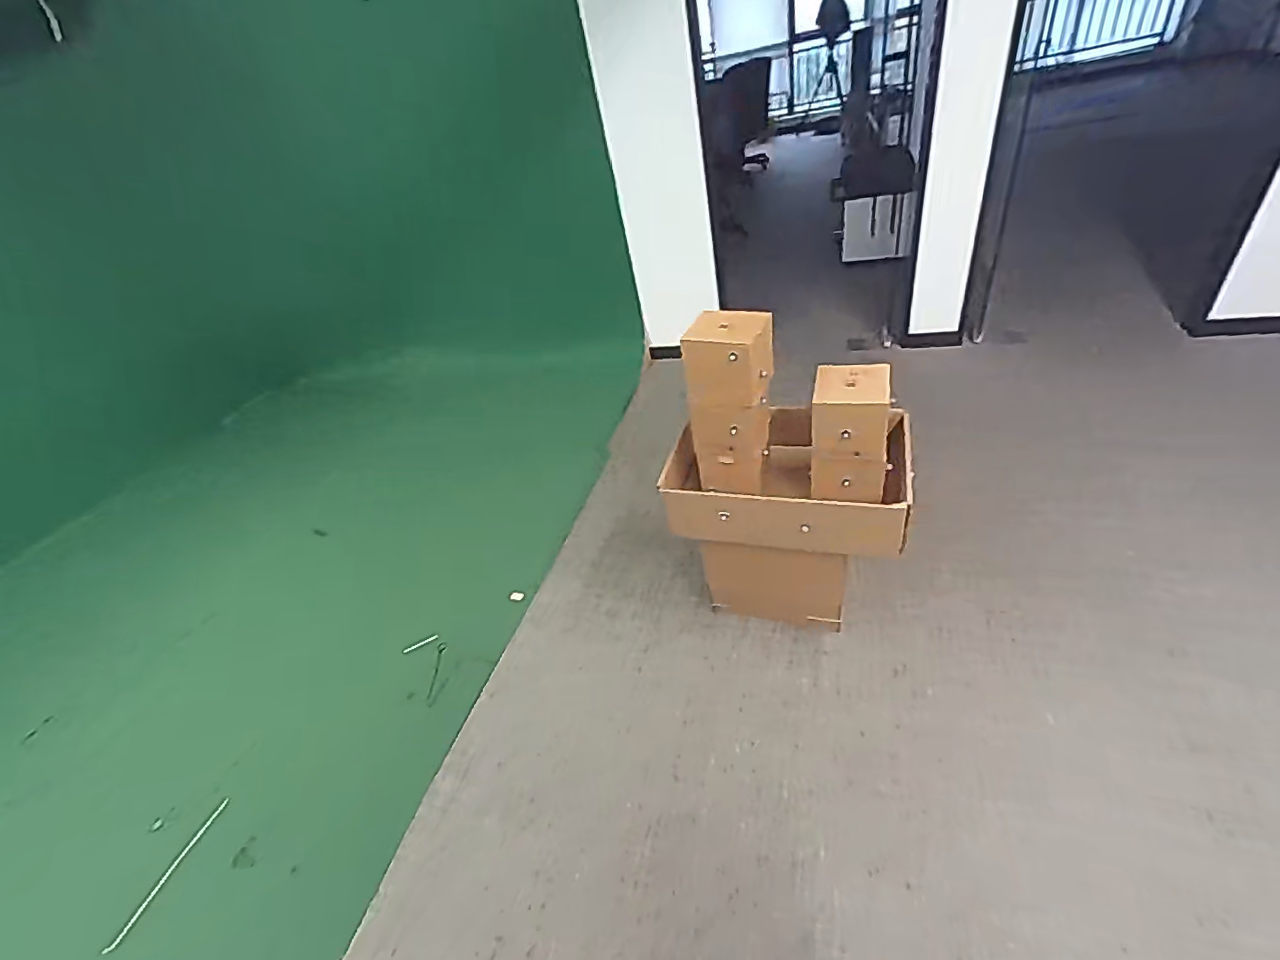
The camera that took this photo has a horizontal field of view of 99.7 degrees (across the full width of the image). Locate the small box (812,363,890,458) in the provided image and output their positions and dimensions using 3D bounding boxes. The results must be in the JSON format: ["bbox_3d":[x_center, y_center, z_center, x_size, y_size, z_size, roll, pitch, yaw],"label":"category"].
[{"bbox_3d":[0.517,-0.168,1.326,0.168,0.176,0.179,4,42,22],"label":"small box"}]

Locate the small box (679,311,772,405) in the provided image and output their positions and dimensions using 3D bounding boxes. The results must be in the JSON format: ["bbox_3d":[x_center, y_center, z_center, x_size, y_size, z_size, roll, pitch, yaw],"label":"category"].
[{"bbox_3d":[0.216,-0.301,1.329,0.179,0.176,0.168,12,45,26],"label":"small box"}]

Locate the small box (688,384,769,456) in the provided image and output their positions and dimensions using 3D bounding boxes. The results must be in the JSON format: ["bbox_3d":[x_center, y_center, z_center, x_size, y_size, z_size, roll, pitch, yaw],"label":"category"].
[{"bbox_3d":[0.243,-0.181,1.435,0.168,0.176,0.179,8,43,25],"label":"small box"}]
